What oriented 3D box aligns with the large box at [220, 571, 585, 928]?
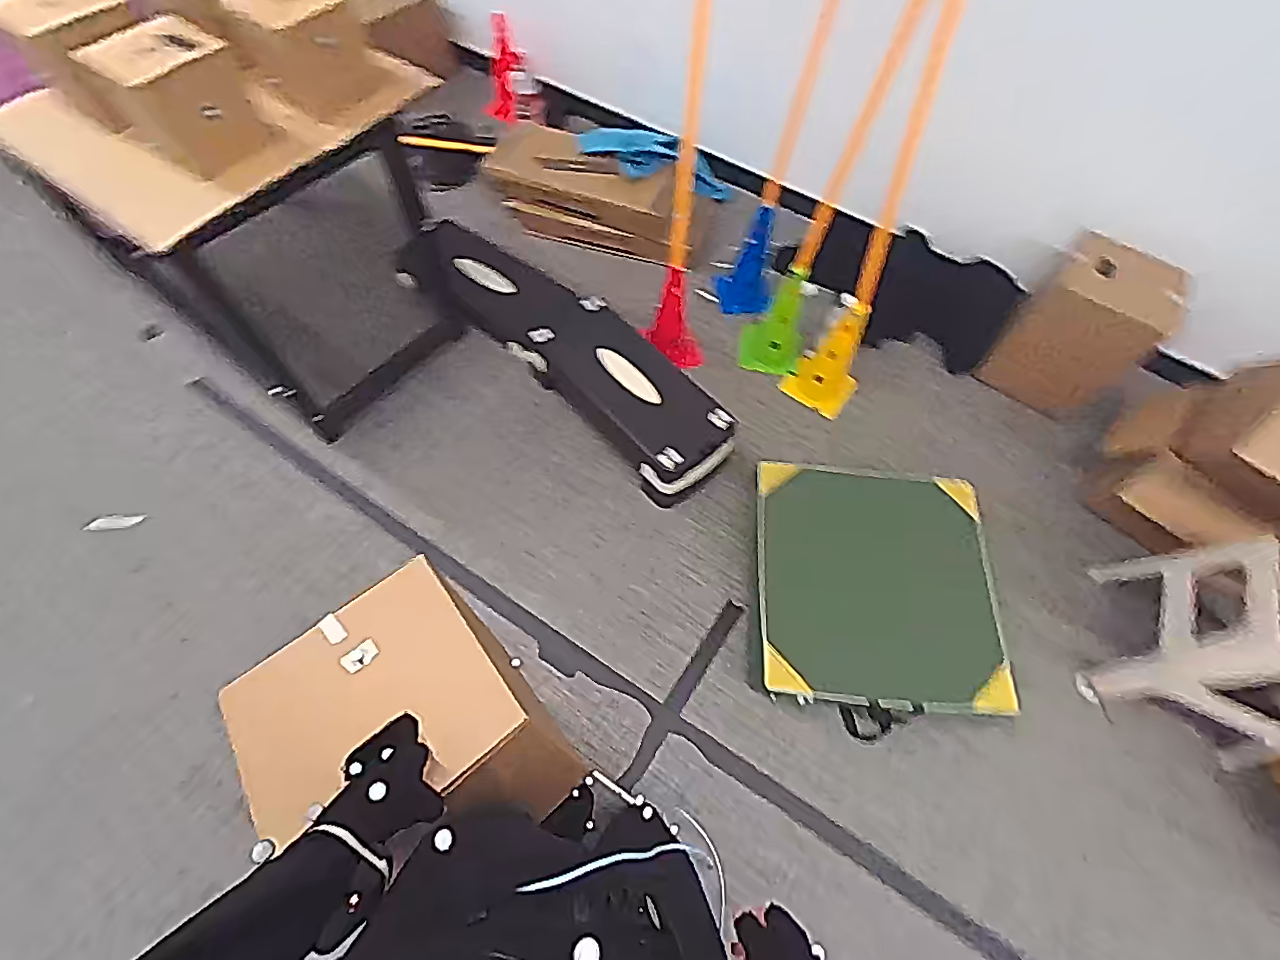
[{"bbox_3d":[-0.335,0.413,0.851,0.320,0.408,0.320,-36,57,-17],"label":"large box"}]
